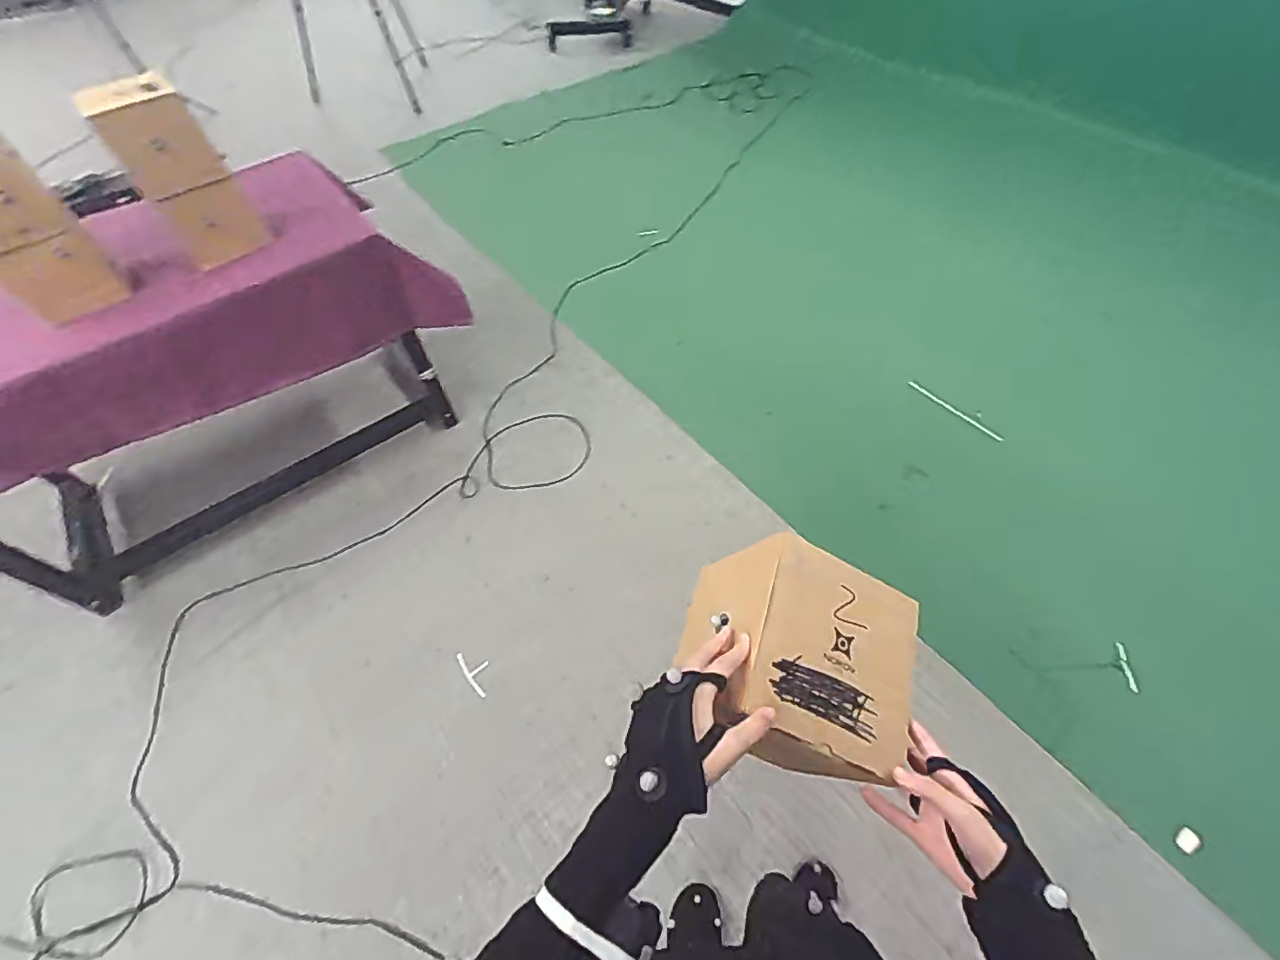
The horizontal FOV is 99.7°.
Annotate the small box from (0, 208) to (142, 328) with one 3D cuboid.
[{"bbox_3d":[-1.290,-0.475,1.220,0.179,0.176,0.168,-32,59,-19],"label":"small box"}]

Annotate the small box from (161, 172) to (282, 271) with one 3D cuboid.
[{"bbox_3d":[-1.026,-0.642,1.318,0.179,0.176,0.168,-36,61,-19],"label":"small box"}]

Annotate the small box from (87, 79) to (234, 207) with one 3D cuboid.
[{"bbox_3d":[-1.033,-0.734,1.182,0.179,0.176,0.168,-35,59,-19],"label":"small box"}]

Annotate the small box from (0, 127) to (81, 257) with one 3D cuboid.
[{"bbox_3d":[-1.291,-0.572,1.090,0.168,0.176,0.179,-33,58,-20],"label":"small box"}]
